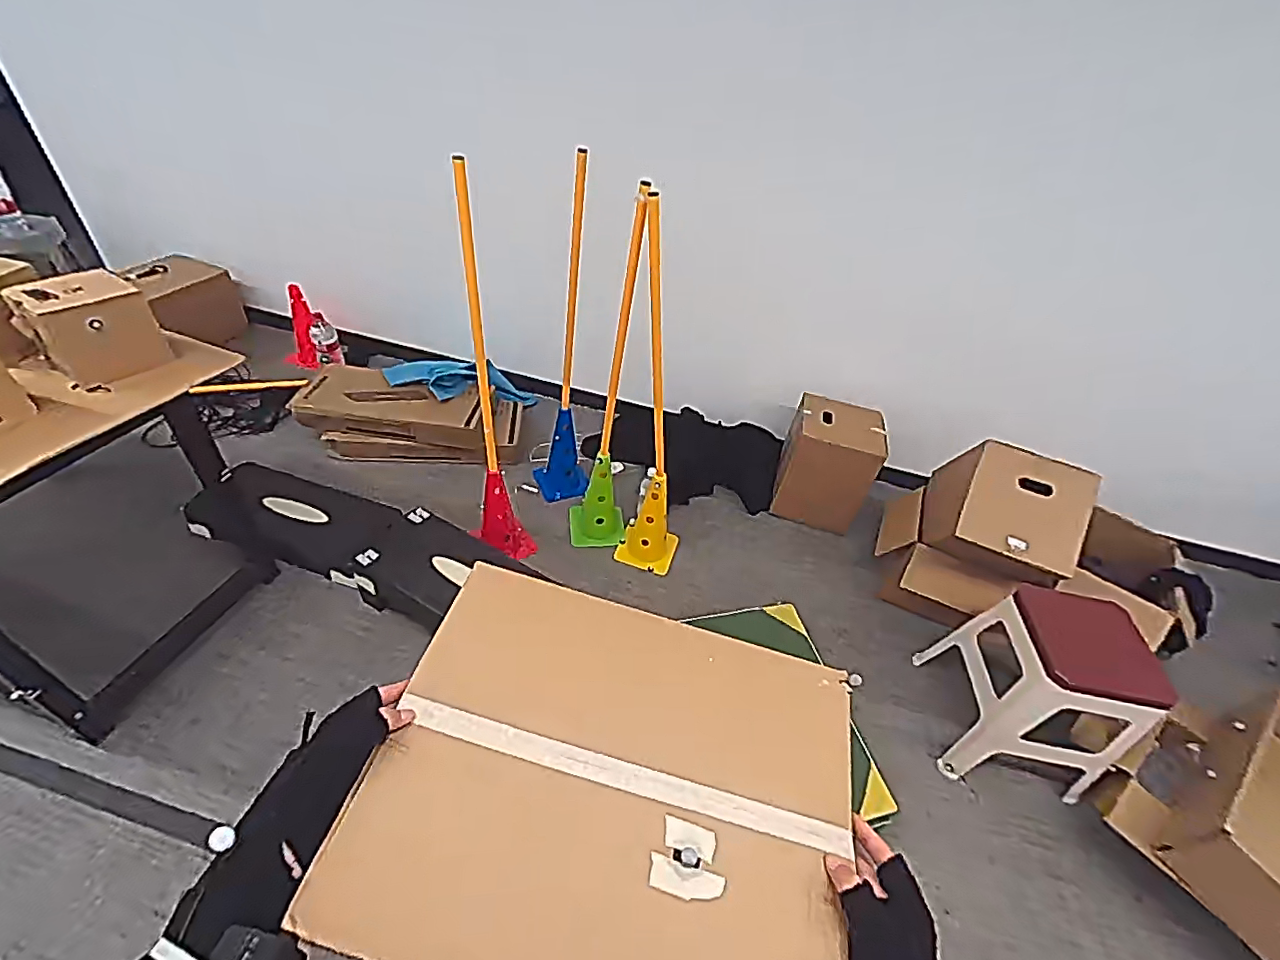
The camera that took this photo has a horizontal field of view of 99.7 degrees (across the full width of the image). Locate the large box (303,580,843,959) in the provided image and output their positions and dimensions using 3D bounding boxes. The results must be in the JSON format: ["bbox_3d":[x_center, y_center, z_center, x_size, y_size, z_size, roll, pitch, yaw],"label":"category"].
[{"bbox_3d":[-0.042,0.362,0.582,0.408,0.320,0.320,16,48,2],"label":"large box"}]
